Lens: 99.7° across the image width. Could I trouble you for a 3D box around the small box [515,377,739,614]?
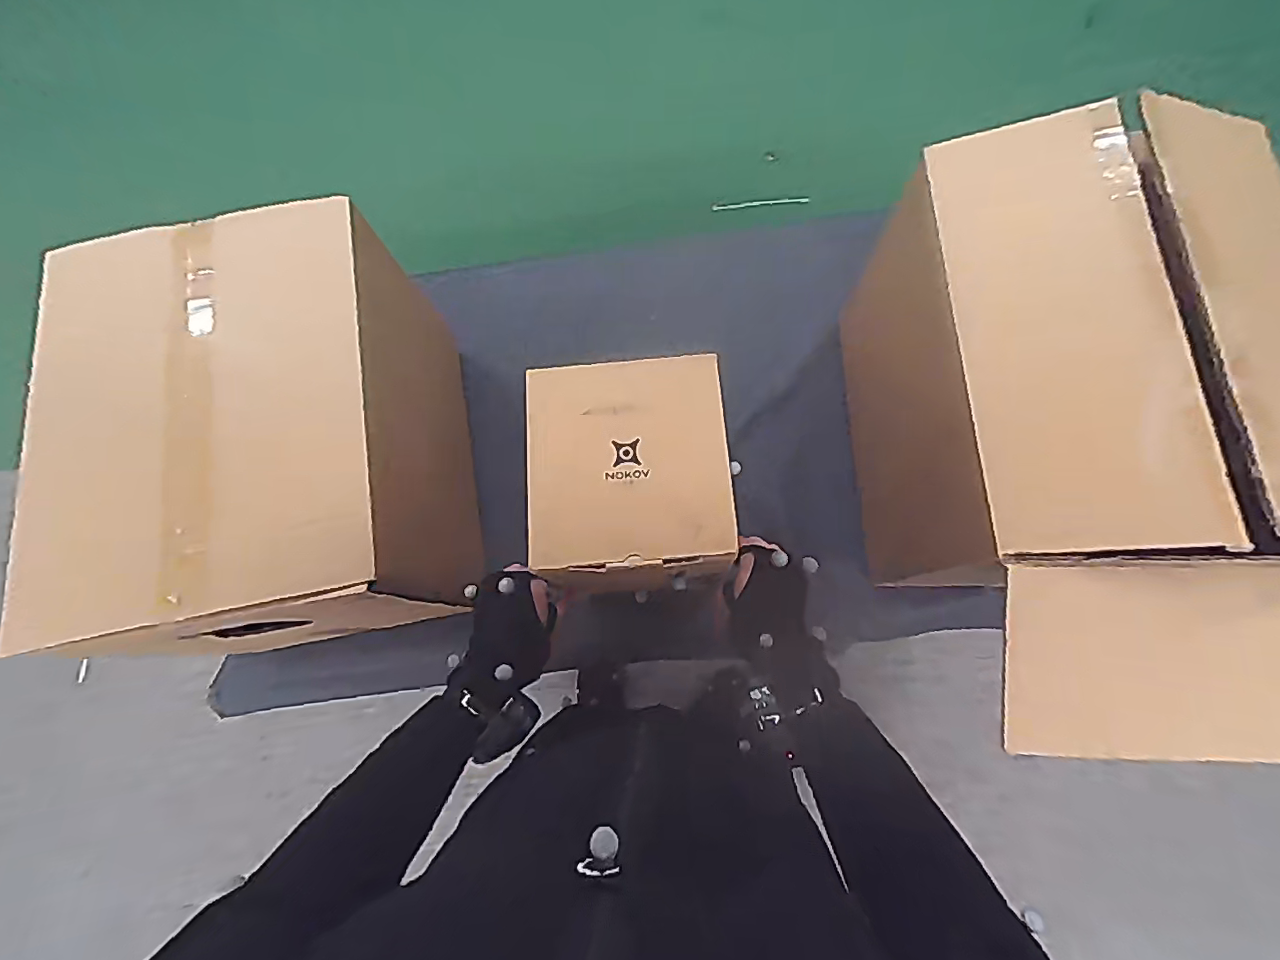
[{"bbox_3d":[-0.010,0.028,0.491,0.168,0.176,0.179,-5,74,1],"label":"small box"}]
